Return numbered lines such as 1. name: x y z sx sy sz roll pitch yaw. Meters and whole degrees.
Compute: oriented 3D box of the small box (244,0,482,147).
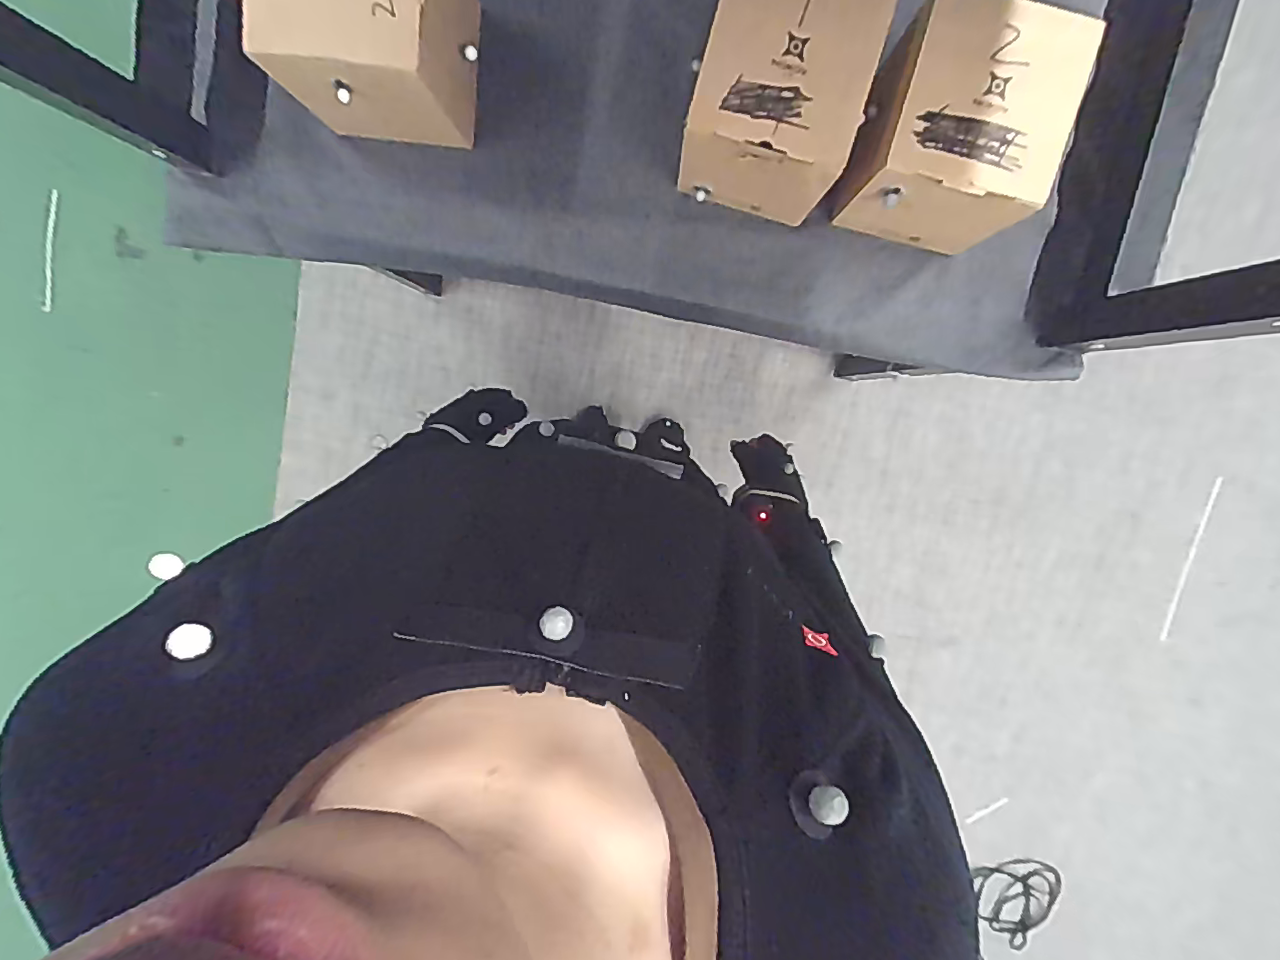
1. small box: -0.292 -0.499 0.599 0.179 0.176 0.168 7 99 -1
